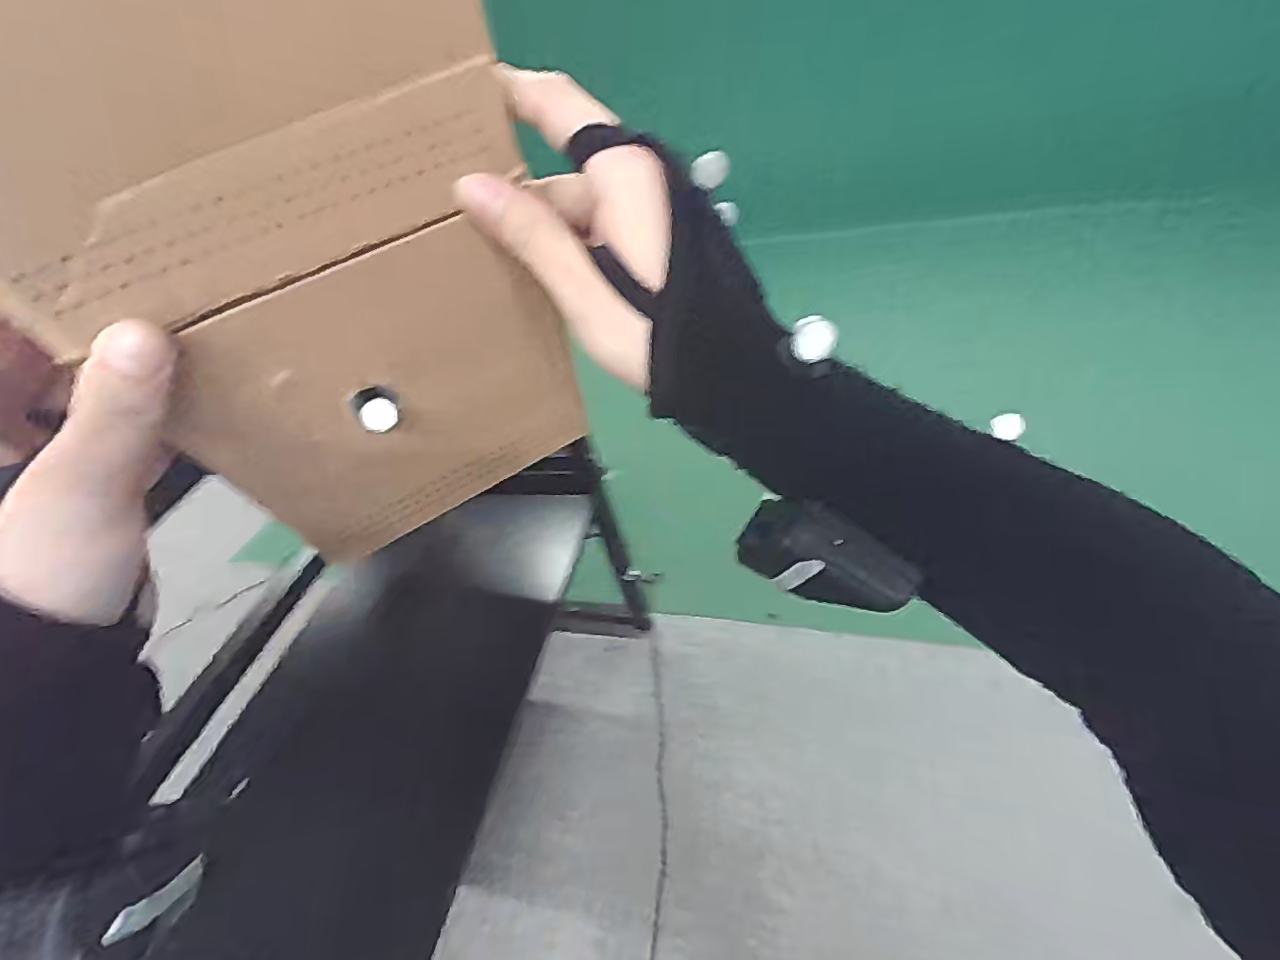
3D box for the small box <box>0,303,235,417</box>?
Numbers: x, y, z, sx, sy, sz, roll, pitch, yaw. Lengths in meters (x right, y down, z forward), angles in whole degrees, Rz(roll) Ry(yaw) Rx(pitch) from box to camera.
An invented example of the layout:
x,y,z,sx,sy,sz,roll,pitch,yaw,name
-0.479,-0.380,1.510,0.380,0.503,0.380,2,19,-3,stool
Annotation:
x,y,z,sx,sy,sz,roll,pitch,yaw,name
-0.542,-0.170,0.502,0.168,0.176,0.179,-1,45,16,small box
